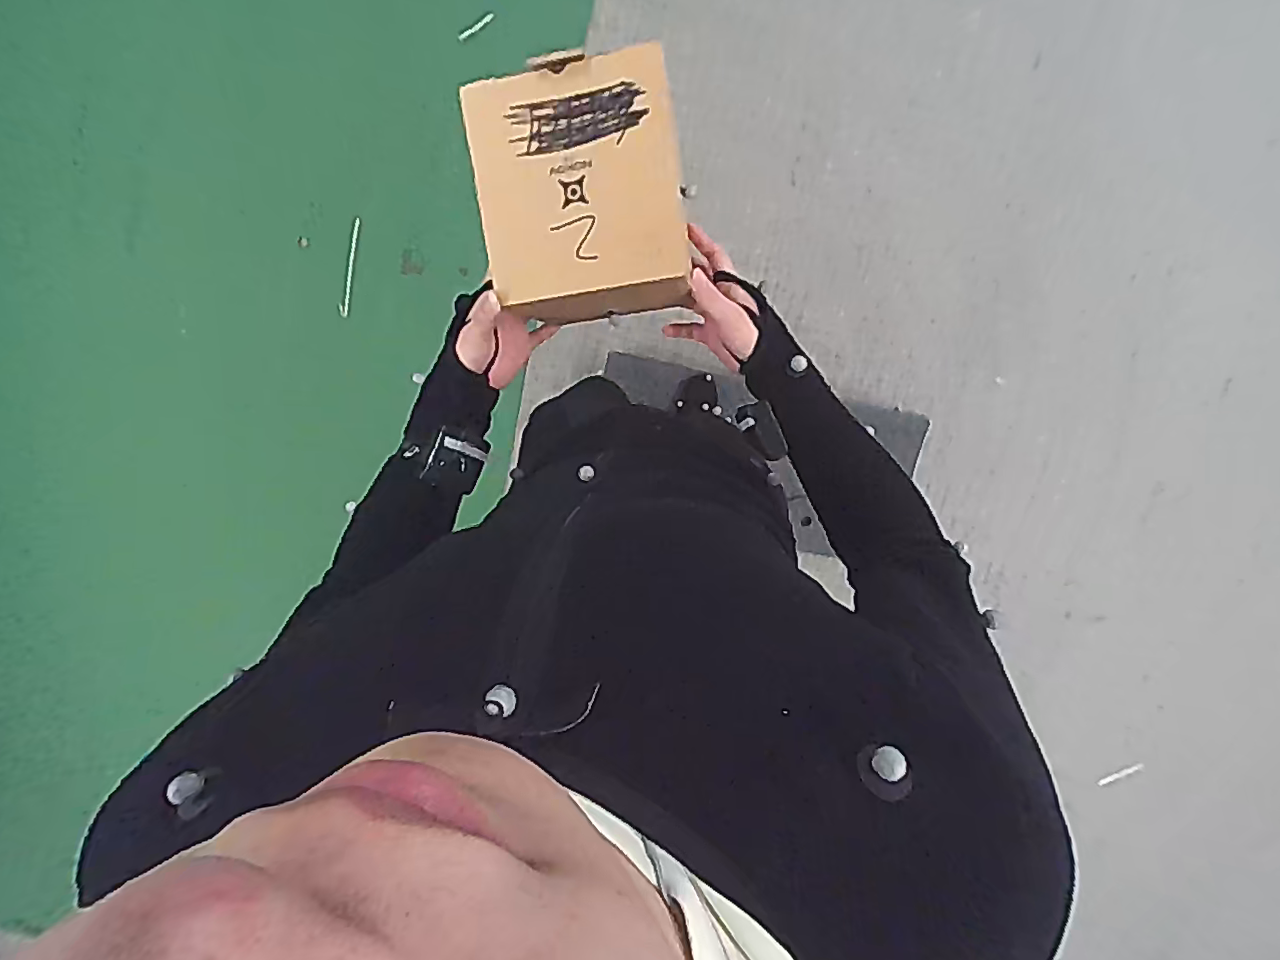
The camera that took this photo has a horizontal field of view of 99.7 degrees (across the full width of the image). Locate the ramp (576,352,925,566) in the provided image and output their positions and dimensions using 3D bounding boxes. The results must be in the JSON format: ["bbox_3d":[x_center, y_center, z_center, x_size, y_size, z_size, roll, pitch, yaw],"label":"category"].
[{"bbox_3d":[0.336,-0.049,1.640,0.991,0.206,0.509,11,100,5],"label":"ramp"}]
